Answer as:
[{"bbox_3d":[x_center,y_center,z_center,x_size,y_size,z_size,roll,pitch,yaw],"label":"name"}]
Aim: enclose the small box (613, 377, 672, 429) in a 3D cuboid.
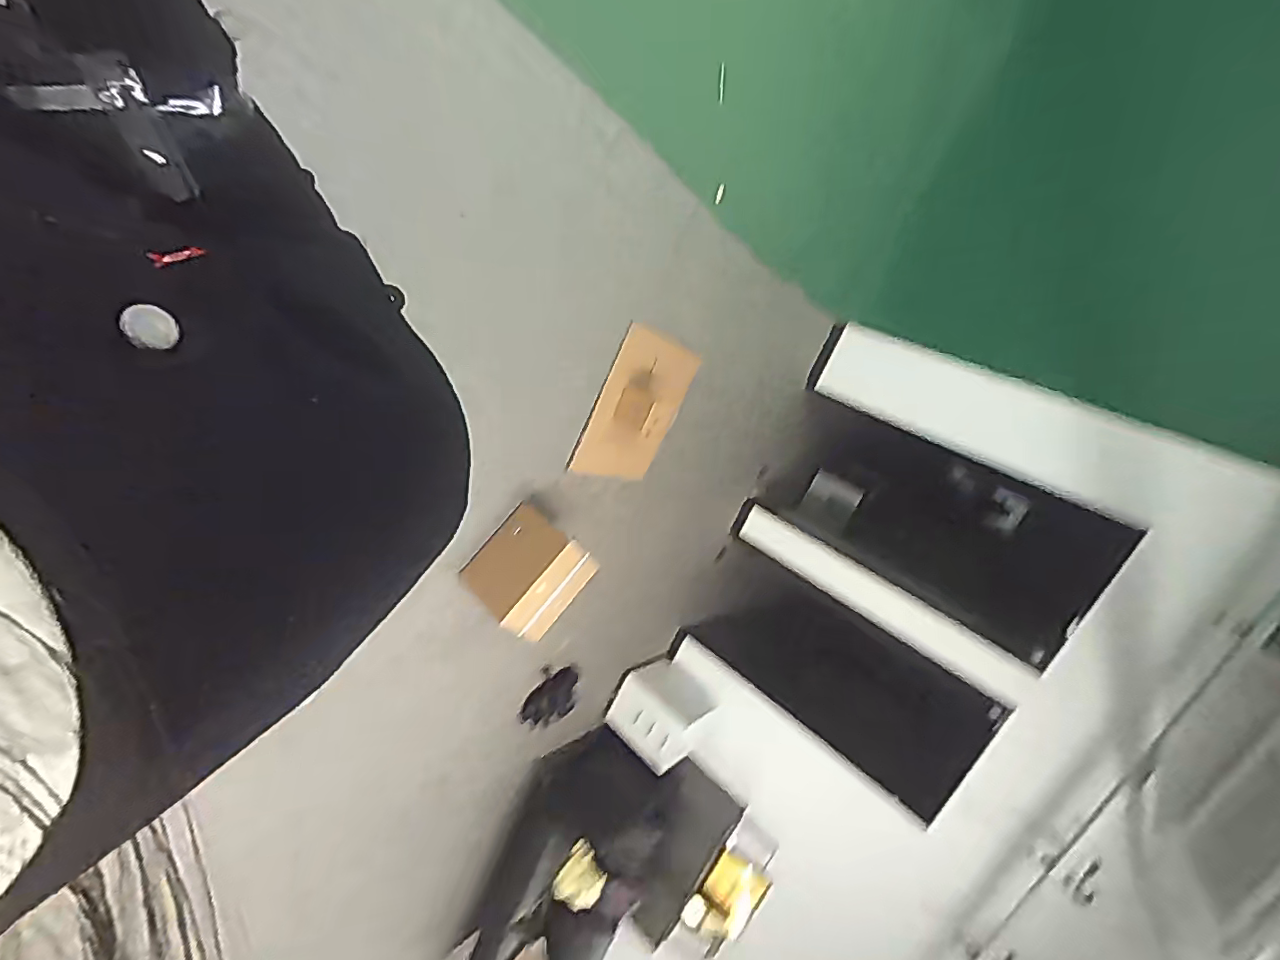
[{"bbox_3d":[0.008,-0.338,2.369,0.168,0.176,0.179,-3,120,-56],"label":"small box"}]
